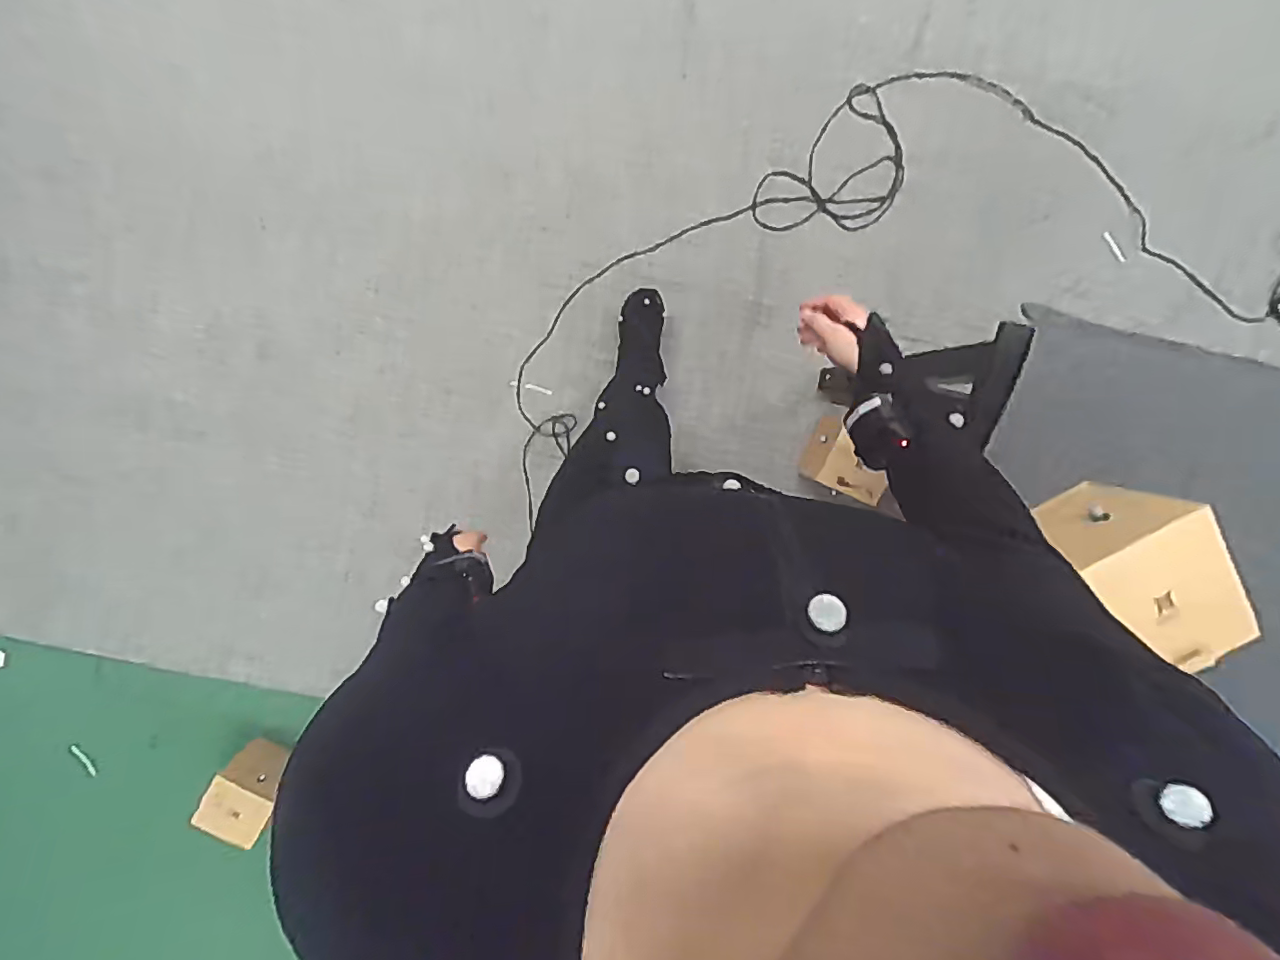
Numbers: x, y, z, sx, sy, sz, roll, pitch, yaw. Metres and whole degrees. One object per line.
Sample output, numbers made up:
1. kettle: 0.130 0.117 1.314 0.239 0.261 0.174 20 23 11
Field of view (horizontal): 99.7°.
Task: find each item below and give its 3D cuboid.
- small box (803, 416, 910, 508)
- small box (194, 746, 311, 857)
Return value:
1. small box: 0.540 -0.052 1.379 0.168 0.176 0.179 24 96 -3
2. small box: -1.061 0.881 1.498 0.179 0.176 0.168 31 96 -4
